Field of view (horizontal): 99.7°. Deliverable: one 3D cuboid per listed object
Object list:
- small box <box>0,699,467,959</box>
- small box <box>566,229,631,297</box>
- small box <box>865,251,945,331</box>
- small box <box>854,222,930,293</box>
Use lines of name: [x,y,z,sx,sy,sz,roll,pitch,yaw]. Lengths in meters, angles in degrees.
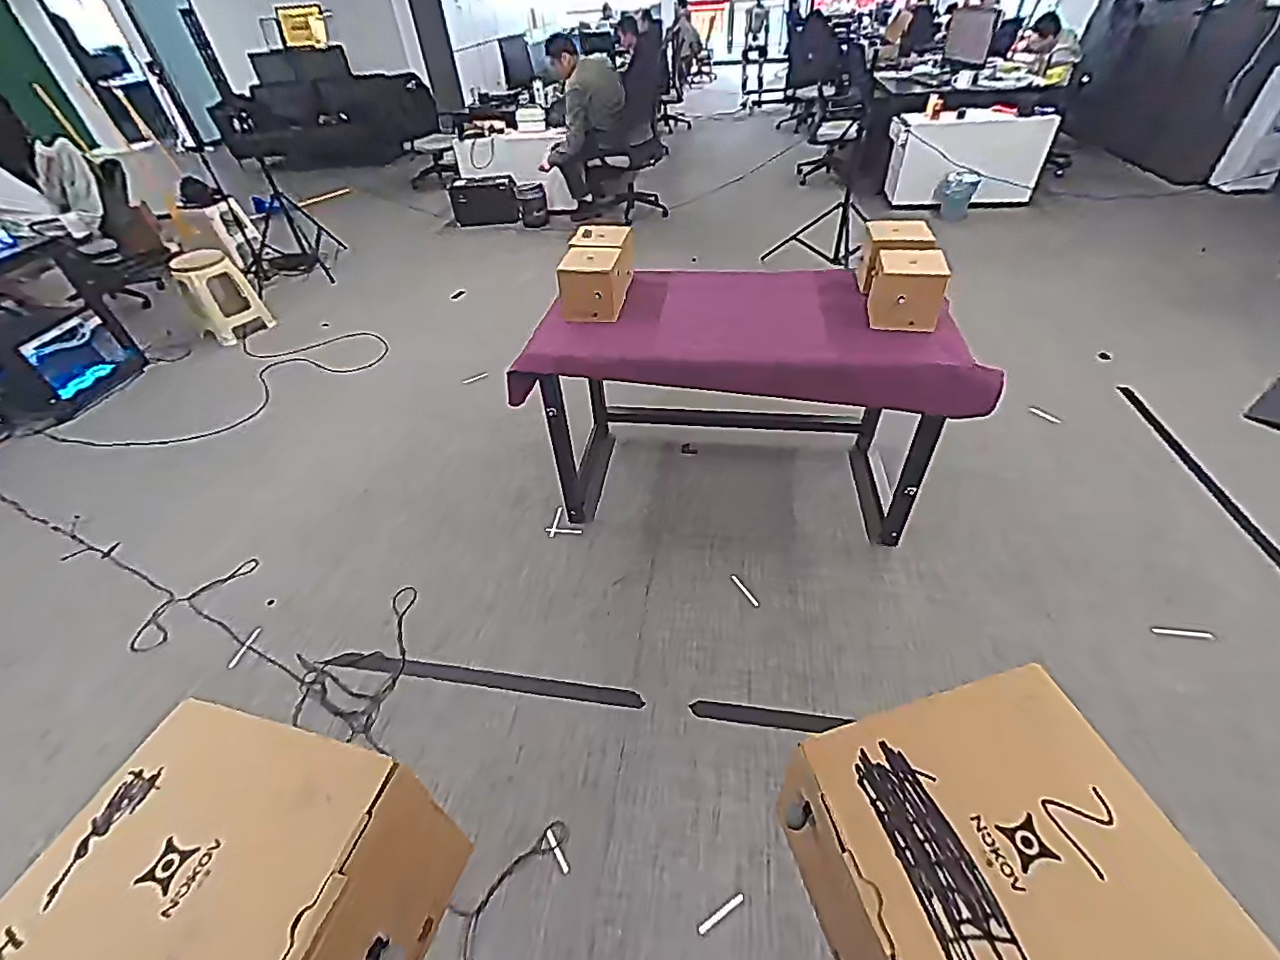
small box: [-0.240,0.276,0.349,0.179,0.176,0.168,8,43,13]
small box: [-0.133,-0.731,1.822,0.179,0.176,0.168,6,46,9]
small box: [0.747,-0.537,1.540,0.168,0.176,0.179,6,43,13]
small box: [0.780,-0.693,1.696,0.179,0.176,0.168,4,44,9]
